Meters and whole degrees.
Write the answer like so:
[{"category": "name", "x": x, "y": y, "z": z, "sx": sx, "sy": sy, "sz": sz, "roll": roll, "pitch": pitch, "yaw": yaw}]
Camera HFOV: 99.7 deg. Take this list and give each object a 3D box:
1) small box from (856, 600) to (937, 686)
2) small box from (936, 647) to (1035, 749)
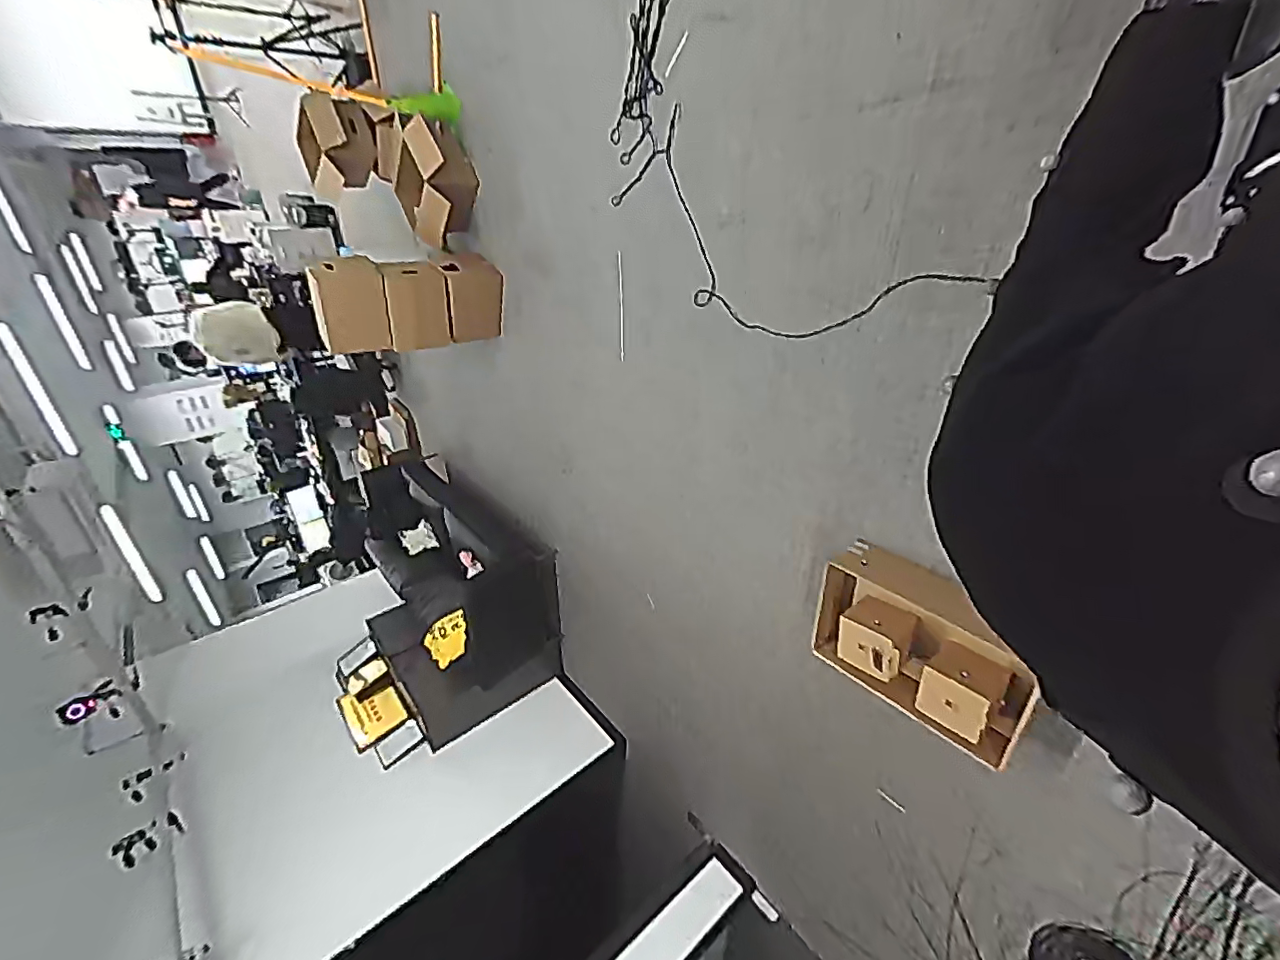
[{"category": "small box", "x": 0.815, "y": 0.507, "z": 1.716, "sx": 0.179, "sy": 0.176, "sz": 0.168, "roll": 21, "pitch": 124, "yaw": 48}, {"category": "small box", "x": 0.981, "y": 0.607, "z": 1.534, "sx": 0.179, "sy": 0.176, "sz": 0.168, "roll": 27, "pitch": 127, "yaw": 47}]
